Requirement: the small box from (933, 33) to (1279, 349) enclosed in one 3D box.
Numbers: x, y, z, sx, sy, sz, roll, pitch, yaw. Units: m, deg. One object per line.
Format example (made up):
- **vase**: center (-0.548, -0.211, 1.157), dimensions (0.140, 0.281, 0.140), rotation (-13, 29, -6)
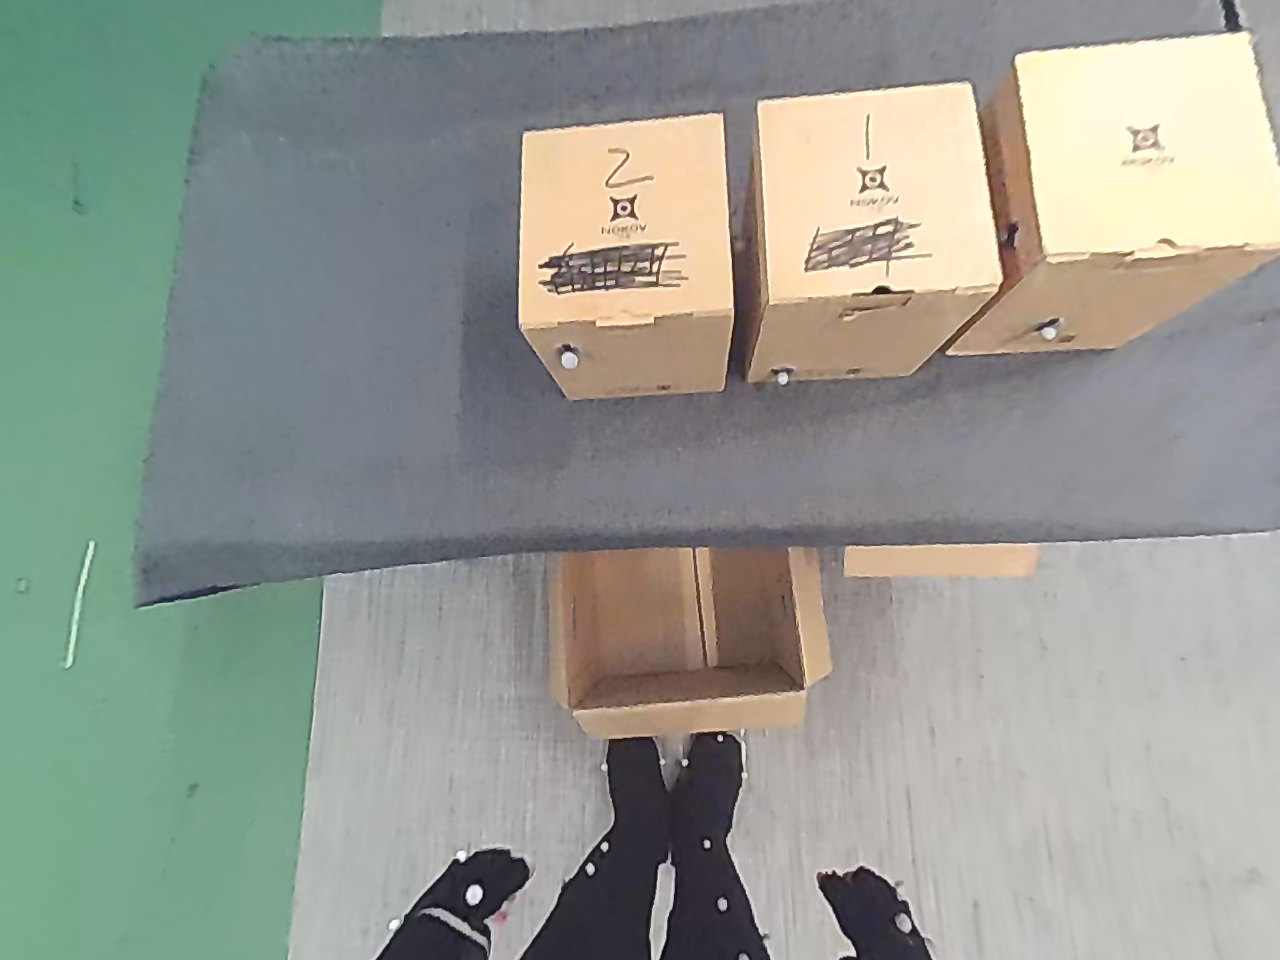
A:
- **small box**: center (0.378, -0.231, 0.470), dimensions (0.168, 0.176, 0.179), rotation (-1, 80, 5)
